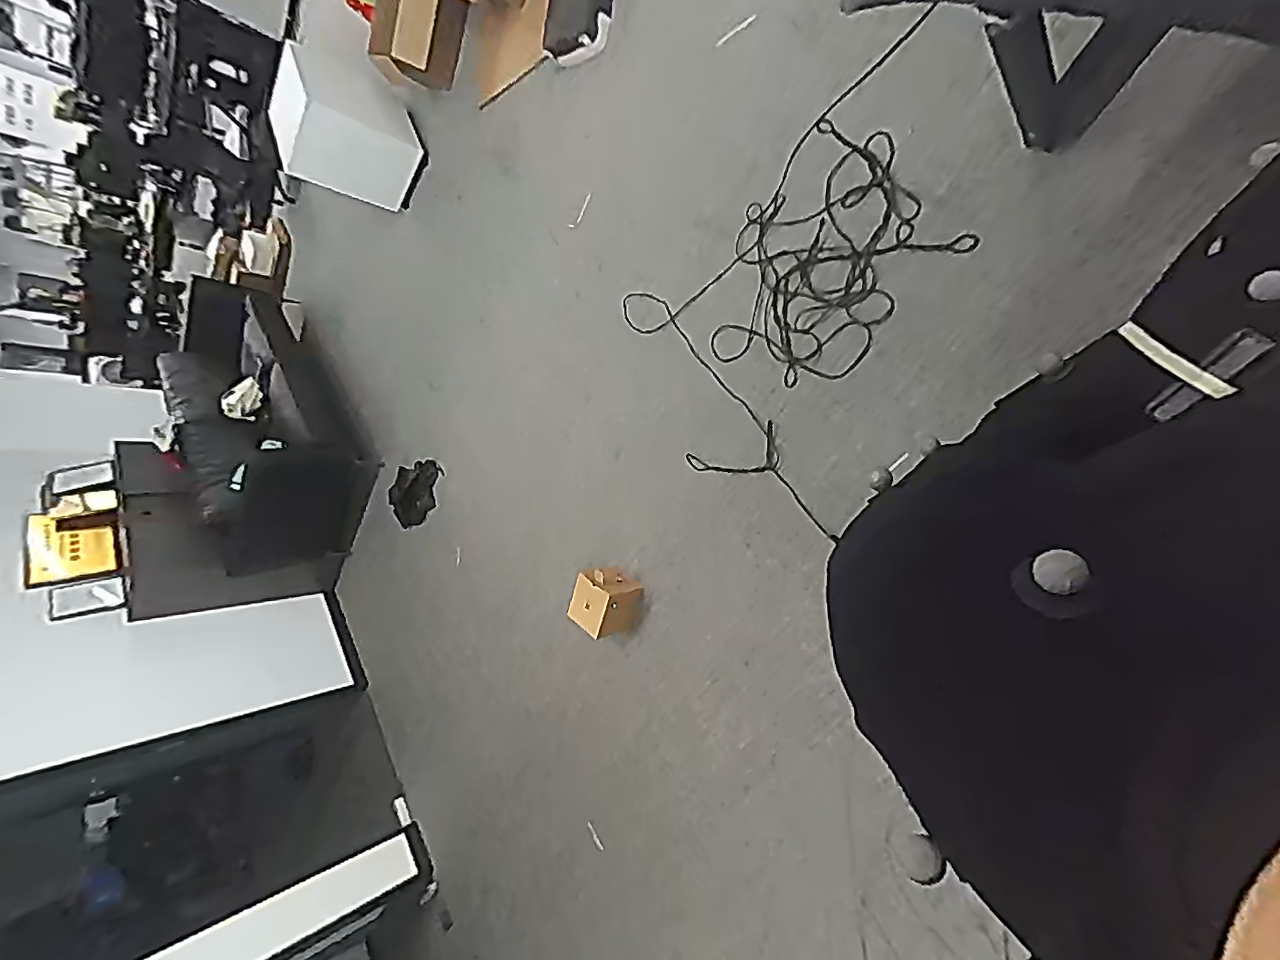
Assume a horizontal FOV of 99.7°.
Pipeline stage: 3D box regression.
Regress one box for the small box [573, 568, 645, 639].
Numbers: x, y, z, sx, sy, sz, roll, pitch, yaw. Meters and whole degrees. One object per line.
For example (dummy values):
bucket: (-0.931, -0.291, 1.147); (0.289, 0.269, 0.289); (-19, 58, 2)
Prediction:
small box: (-0.107, 0.428, 1.907); (0.168, 0.176, 0.179); (28, 108, 39)
